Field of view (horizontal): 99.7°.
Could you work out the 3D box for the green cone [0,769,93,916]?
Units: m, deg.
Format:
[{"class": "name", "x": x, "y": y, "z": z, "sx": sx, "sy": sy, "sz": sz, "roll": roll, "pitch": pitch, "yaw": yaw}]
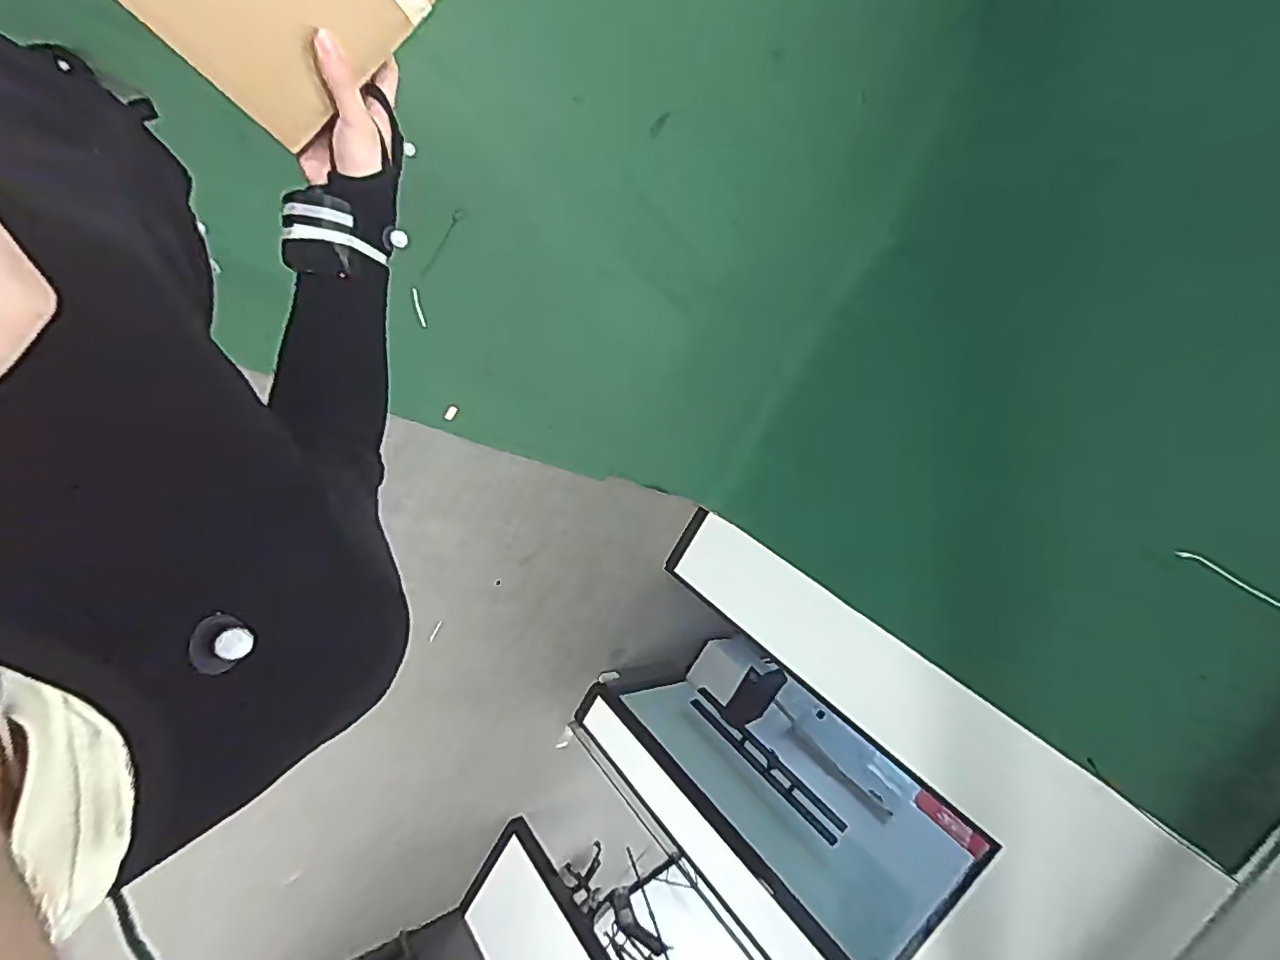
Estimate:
[{"class": "green cone", "x": -1.672, "y": 1.029, "z": 1.499, "sx": 0.202, "sy": 0.368, "sz": 0.200, "roll": -57, "pitch": 145, "yaw": 3}]
